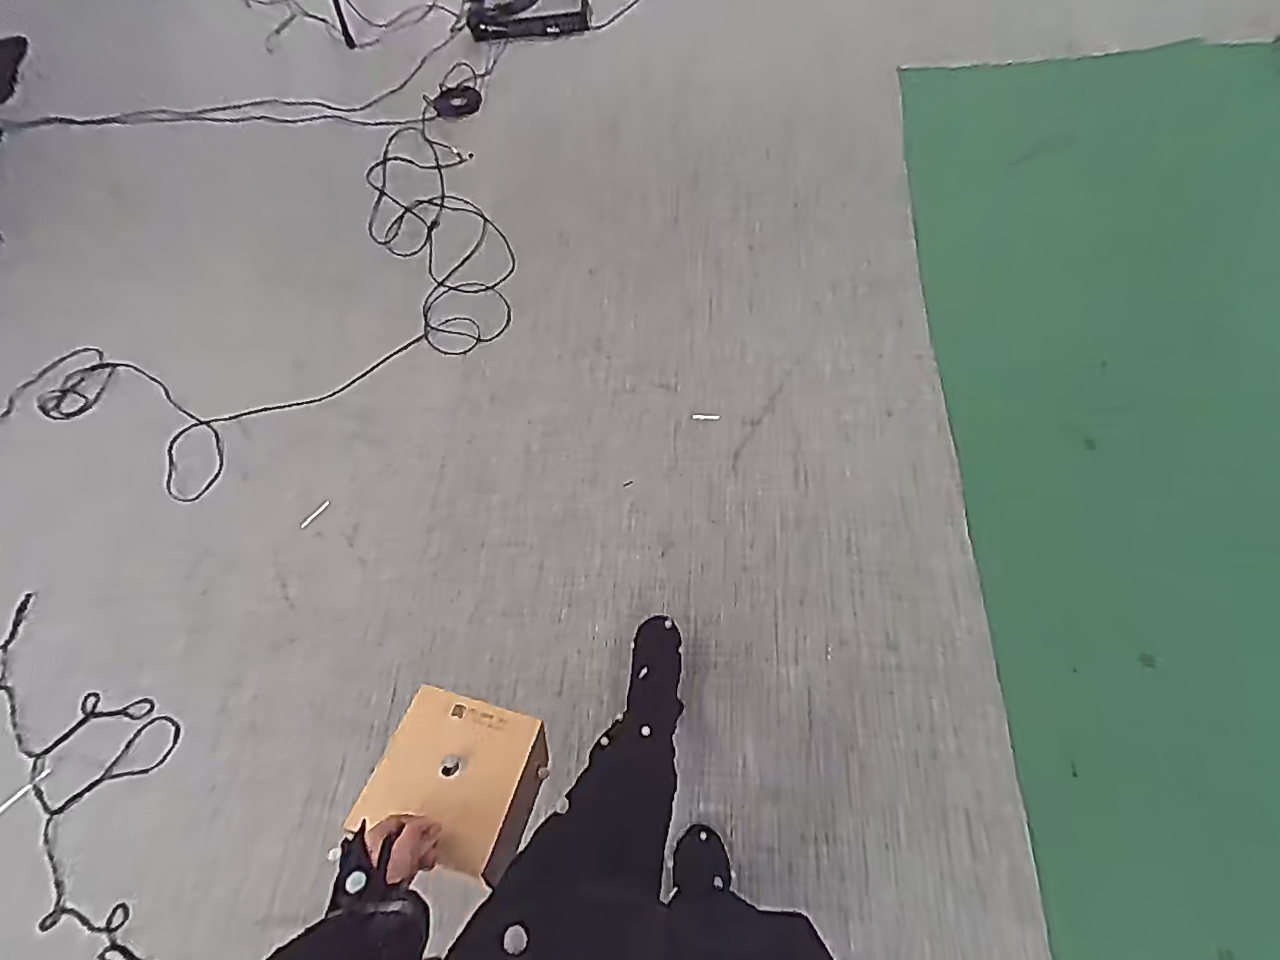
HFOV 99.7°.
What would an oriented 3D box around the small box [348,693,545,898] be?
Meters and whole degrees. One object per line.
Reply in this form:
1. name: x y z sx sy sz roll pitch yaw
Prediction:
1. small box: -0.227 0.398 0.691 0.168 0.179 0.176 14 47 6
